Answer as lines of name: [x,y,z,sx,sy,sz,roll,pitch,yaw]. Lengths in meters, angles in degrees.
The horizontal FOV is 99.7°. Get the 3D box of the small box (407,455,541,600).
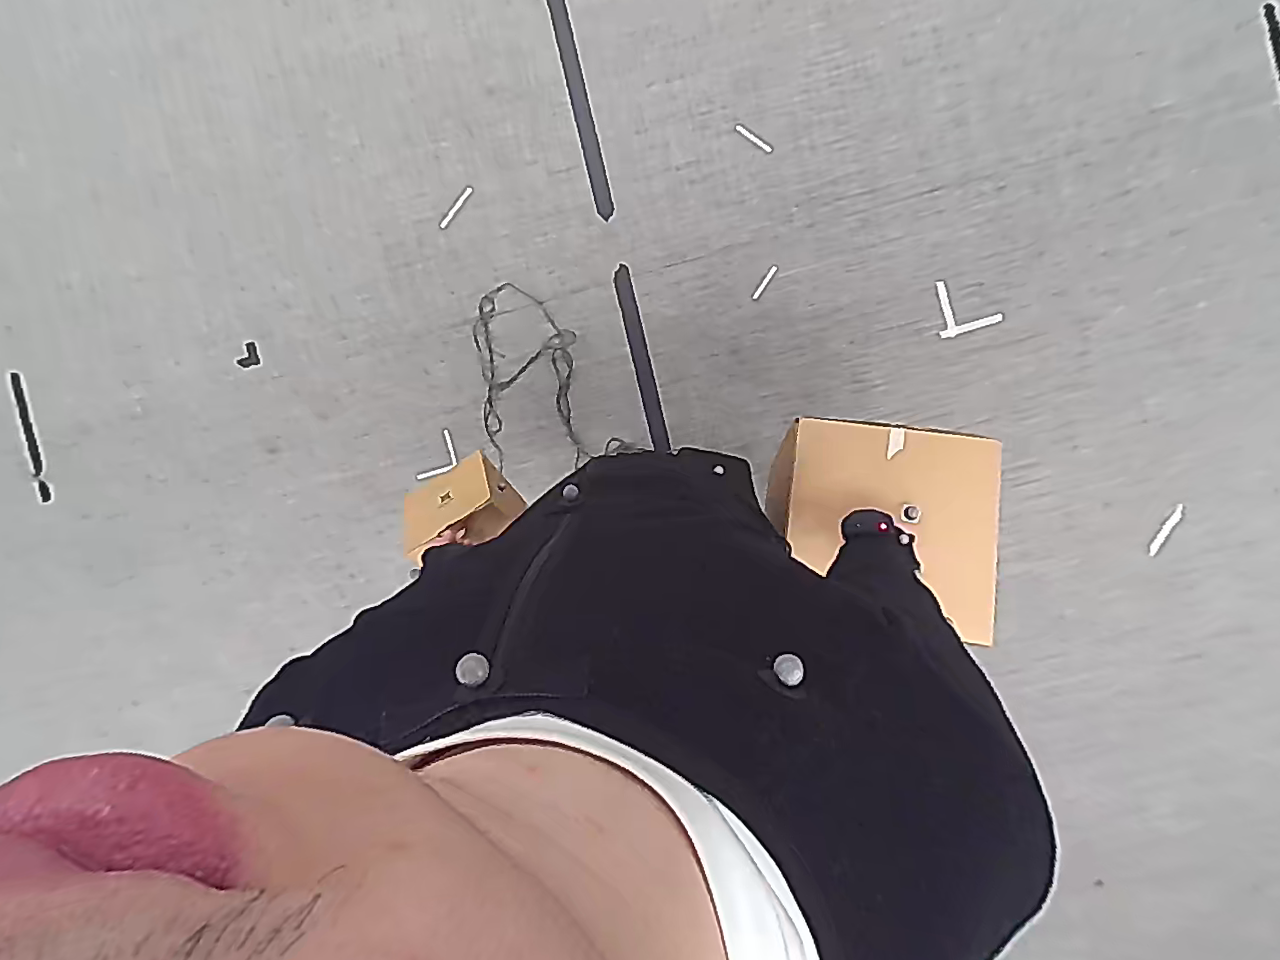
small box: [-0.300,0.093,0.988,0.168,0.179,0.176,-33,126,-1]
